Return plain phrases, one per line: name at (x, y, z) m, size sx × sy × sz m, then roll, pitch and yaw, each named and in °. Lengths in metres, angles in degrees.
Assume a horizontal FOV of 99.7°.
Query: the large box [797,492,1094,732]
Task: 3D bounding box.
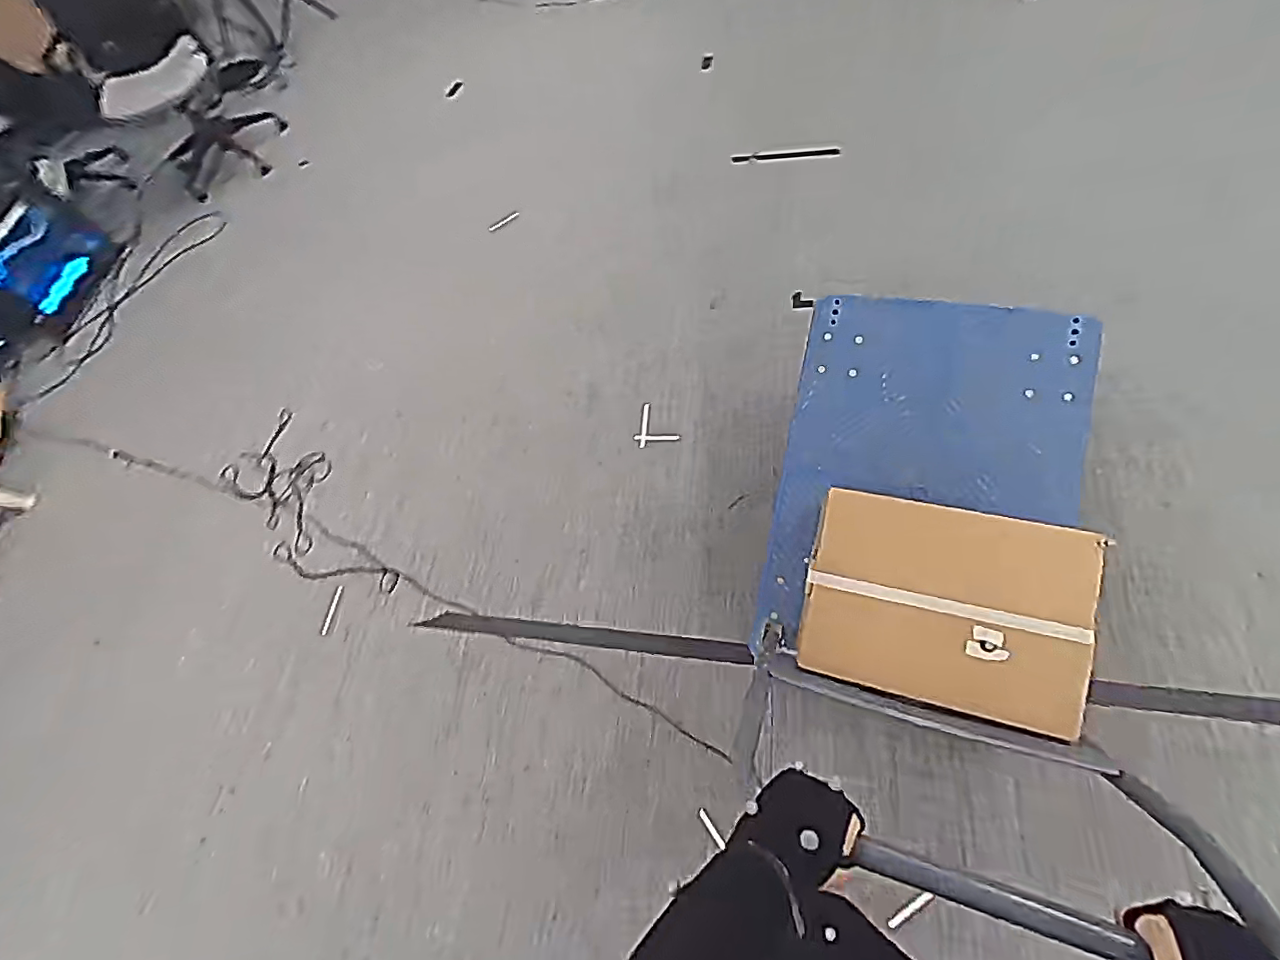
large box at (0.525, 0.221, 1.022) m, size 0.408 × 0.320 × 0.320 m, roll 11°, pitch 86°, yaw 17°
